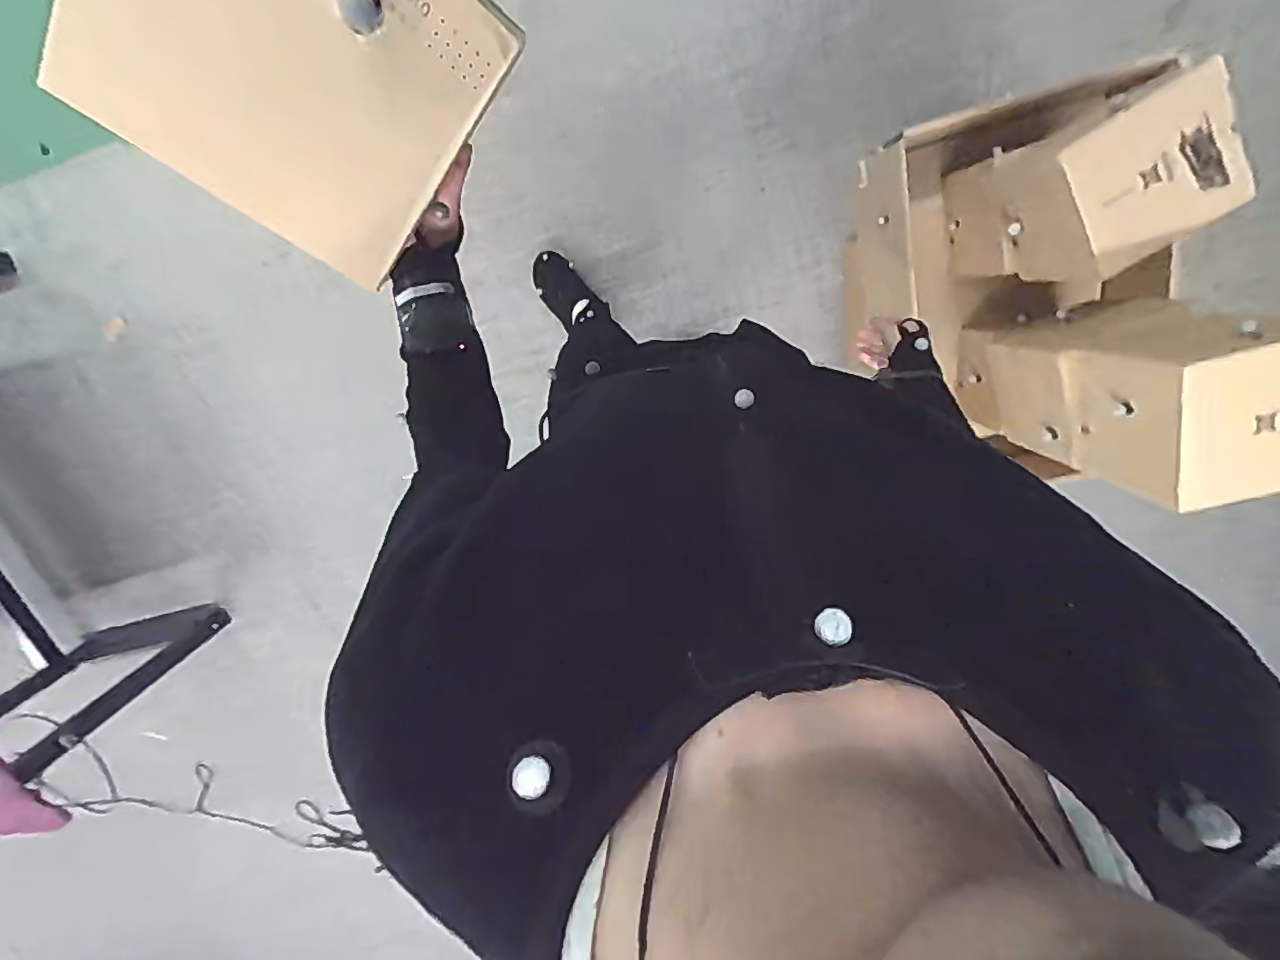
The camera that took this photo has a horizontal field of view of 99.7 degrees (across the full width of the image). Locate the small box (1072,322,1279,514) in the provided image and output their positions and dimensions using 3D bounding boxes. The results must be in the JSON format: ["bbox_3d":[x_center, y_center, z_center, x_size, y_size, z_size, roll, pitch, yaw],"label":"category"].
[{"bbox_3d":[0.643,-0.080,0.625,0.179,0.176,0.168,-14,107,6],"label":"small box"}]

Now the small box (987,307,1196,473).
[{"bbox_3d":[0.641,-0.137,0.777,0.168,0.176,0.179,-22,106,8],"label":"small box"}]

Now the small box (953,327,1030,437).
[{"bbox_3d":[0.675,-0.176,0.937,0.179,0.176,0.168,-4,108,4],"label":"small box"}]

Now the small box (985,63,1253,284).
[{"bbox_3d":[0.596,-0.372,0.696,0.179,0.176,0.168,-30,105,13],"label":"small box"}]
